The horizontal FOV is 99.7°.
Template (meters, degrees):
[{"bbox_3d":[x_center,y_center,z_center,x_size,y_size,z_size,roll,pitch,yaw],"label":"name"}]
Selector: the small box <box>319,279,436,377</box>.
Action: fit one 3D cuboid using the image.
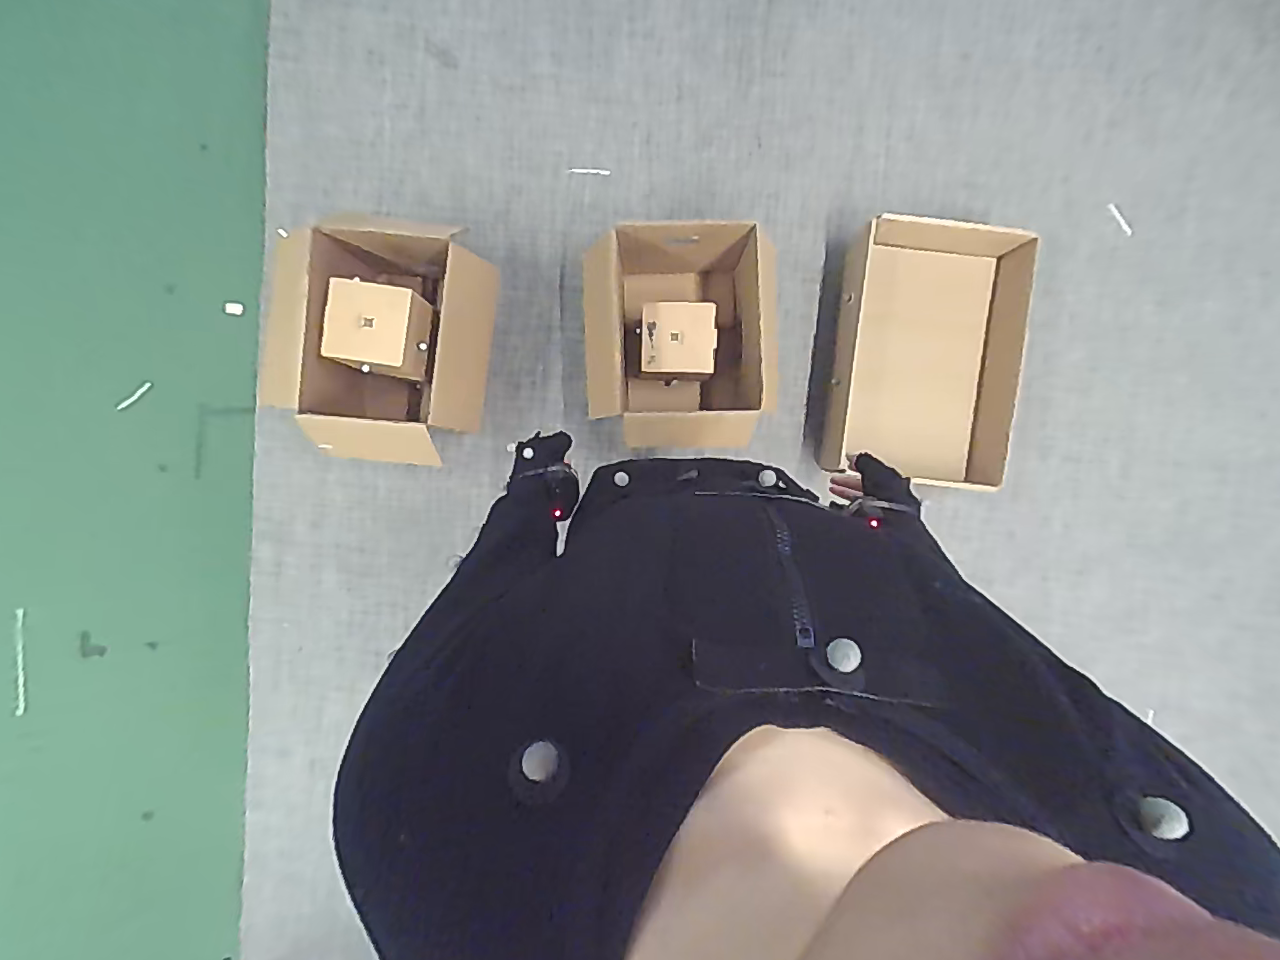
[{"bbox_3d":[-0.575,-0.330,1.206,0.179,0.176,0.168,8,91,-1],"label":"small box"}]
